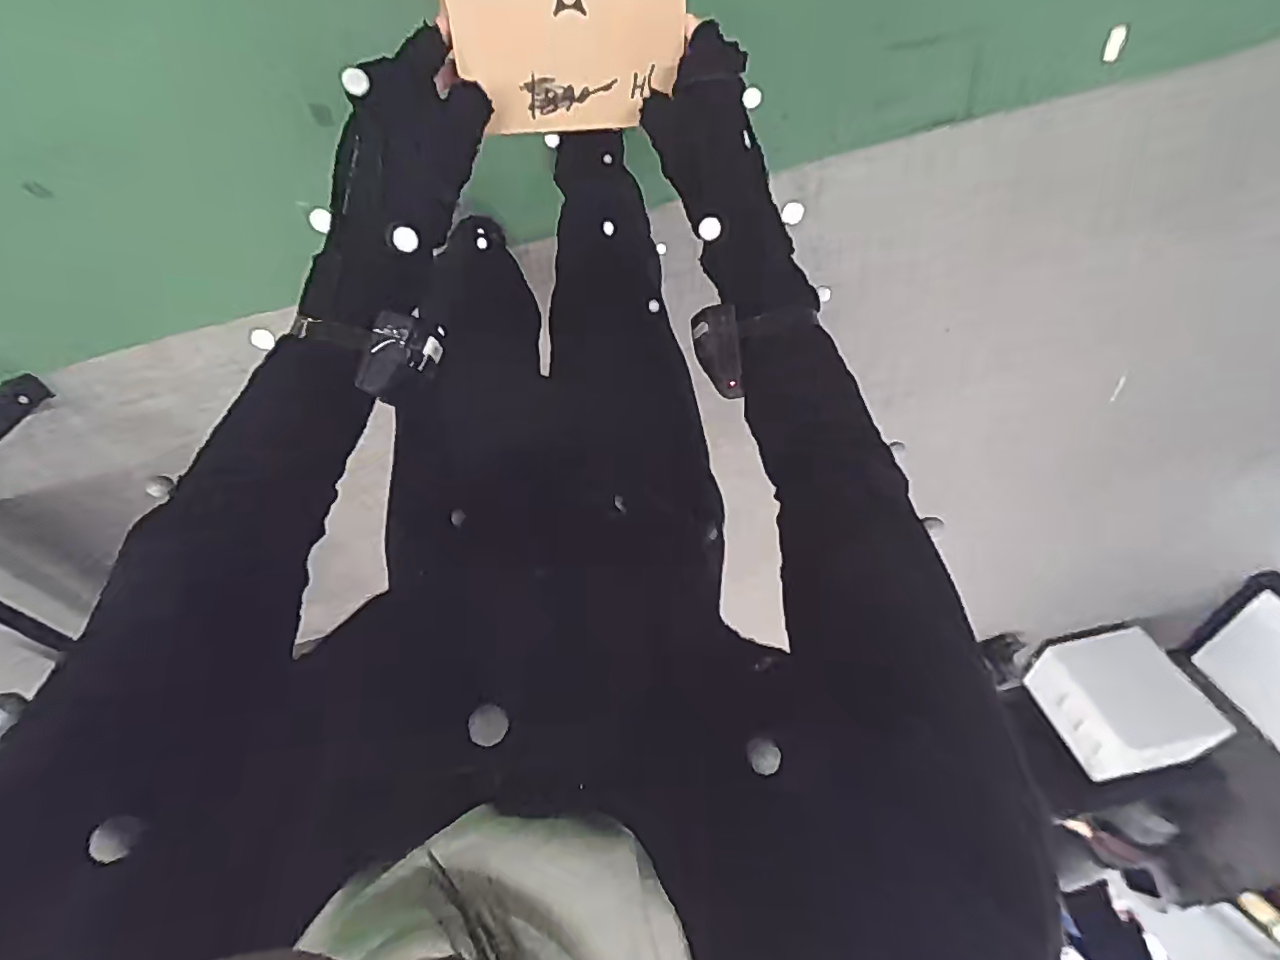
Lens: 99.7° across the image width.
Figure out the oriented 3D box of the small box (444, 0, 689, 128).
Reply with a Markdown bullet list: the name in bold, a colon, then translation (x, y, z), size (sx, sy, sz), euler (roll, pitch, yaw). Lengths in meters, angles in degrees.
- **small box**: translation (-0.067, -0.388, 0.415), size (0.168, 0.176, 0.179), euler (-11, 133, -12)
